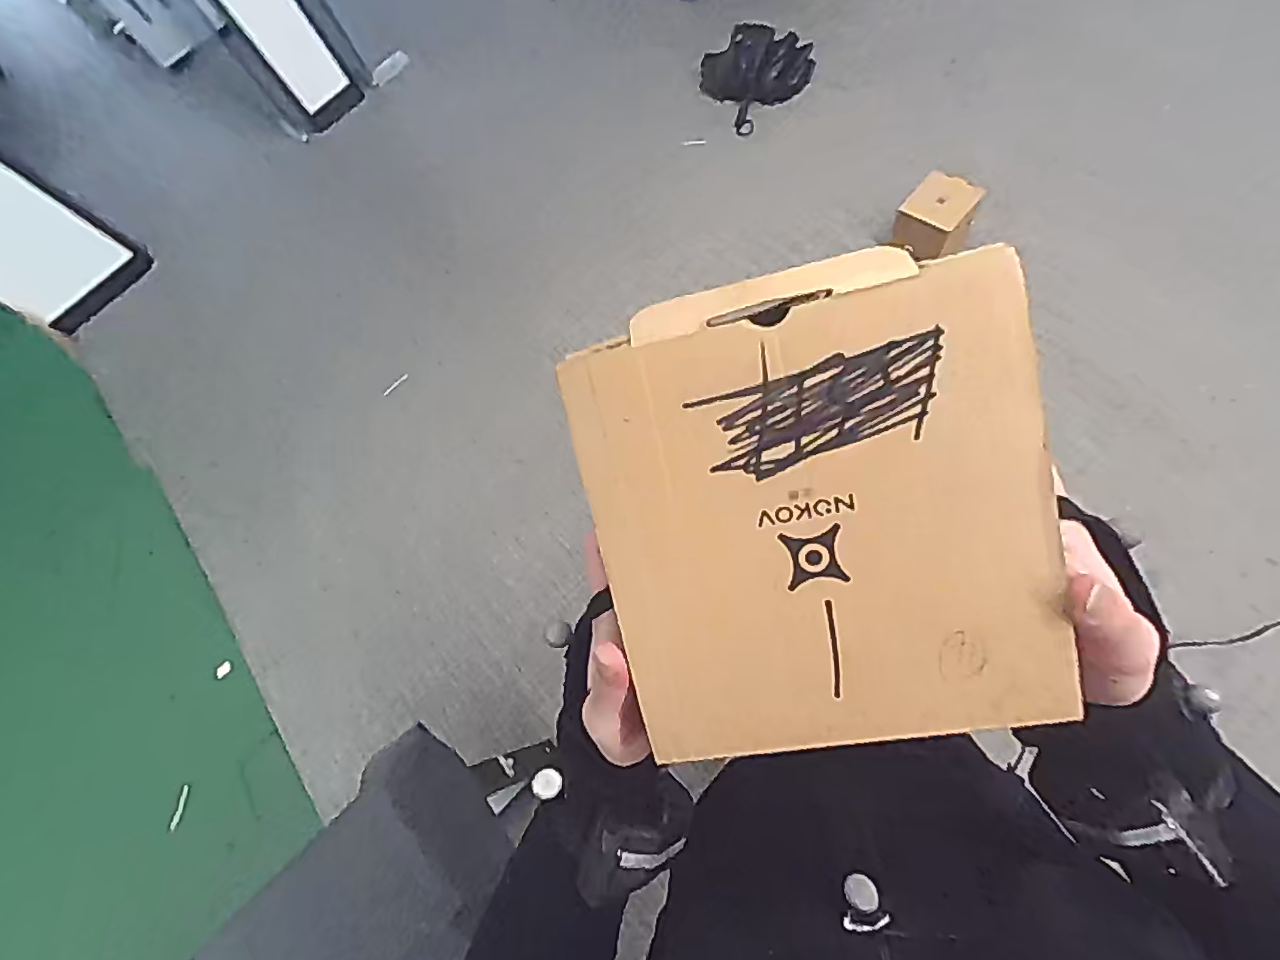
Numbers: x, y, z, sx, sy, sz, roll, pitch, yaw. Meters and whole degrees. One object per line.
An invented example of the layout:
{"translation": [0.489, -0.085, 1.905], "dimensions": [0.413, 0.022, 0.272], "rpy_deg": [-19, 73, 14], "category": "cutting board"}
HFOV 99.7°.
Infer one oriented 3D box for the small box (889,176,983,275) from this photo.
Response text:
{"translation": [0.879, -0.761, 1.628], "dimensions": [0.168, 0.176, 0.179], "rpy_deg": [39, 83, 23], "category": "small box"}
